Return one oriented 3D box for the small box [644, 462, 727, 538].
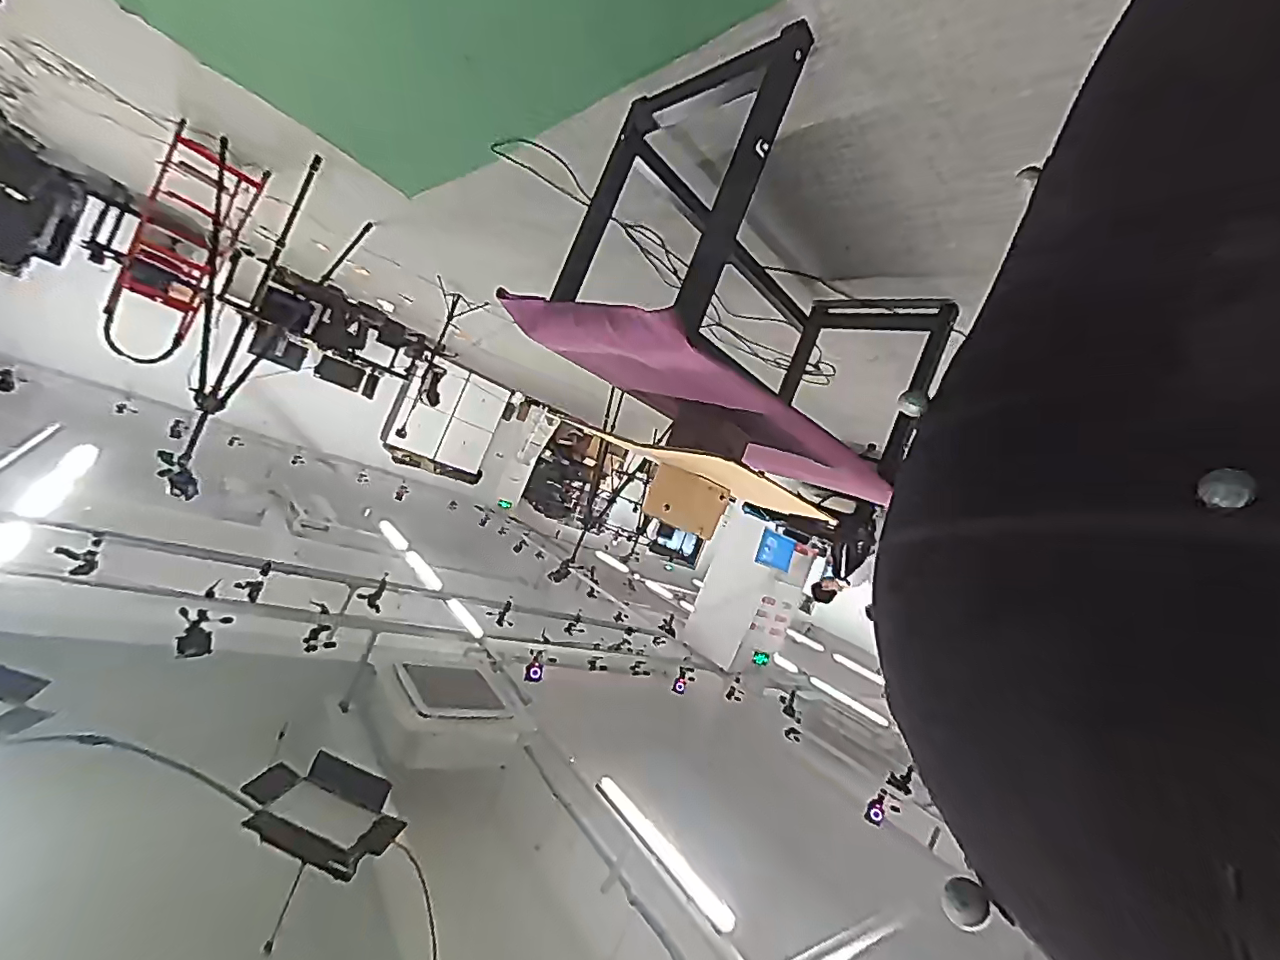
[{"bbox_3d":[0.147,0.058,1.662,0.168,0.176,0.179,24,180,-44],"label":"small box"}]
